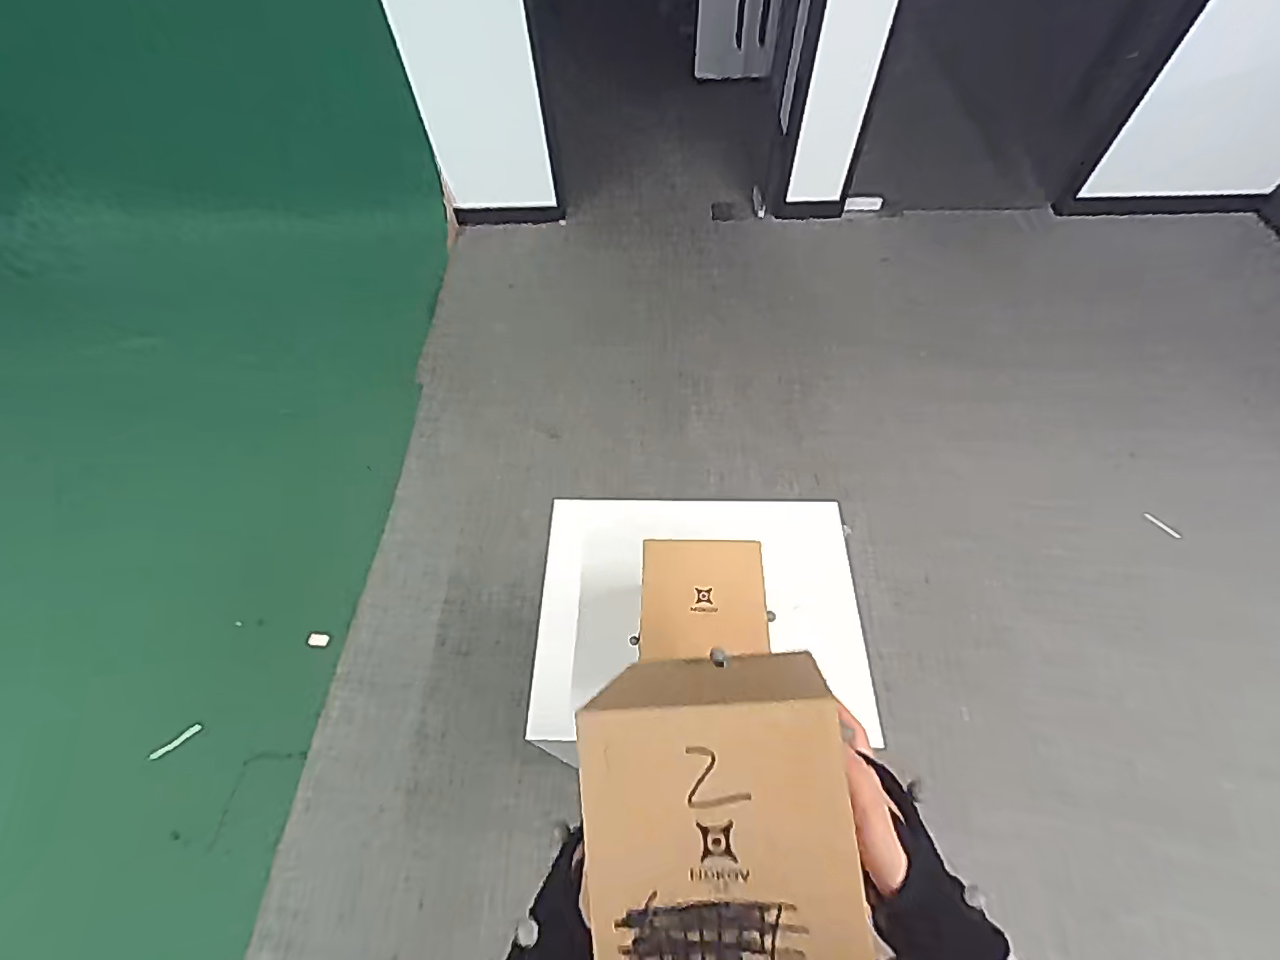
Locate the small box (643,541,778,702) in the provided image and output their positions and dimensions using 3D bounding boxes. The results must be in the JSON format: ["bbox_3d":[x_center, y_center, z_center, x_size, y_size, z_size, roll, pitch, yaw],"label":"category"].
[{"bbox_3d":[0.089,0.202,0.764,0.168,0.176,0.179,0,57,2],"label":"small box"}]
